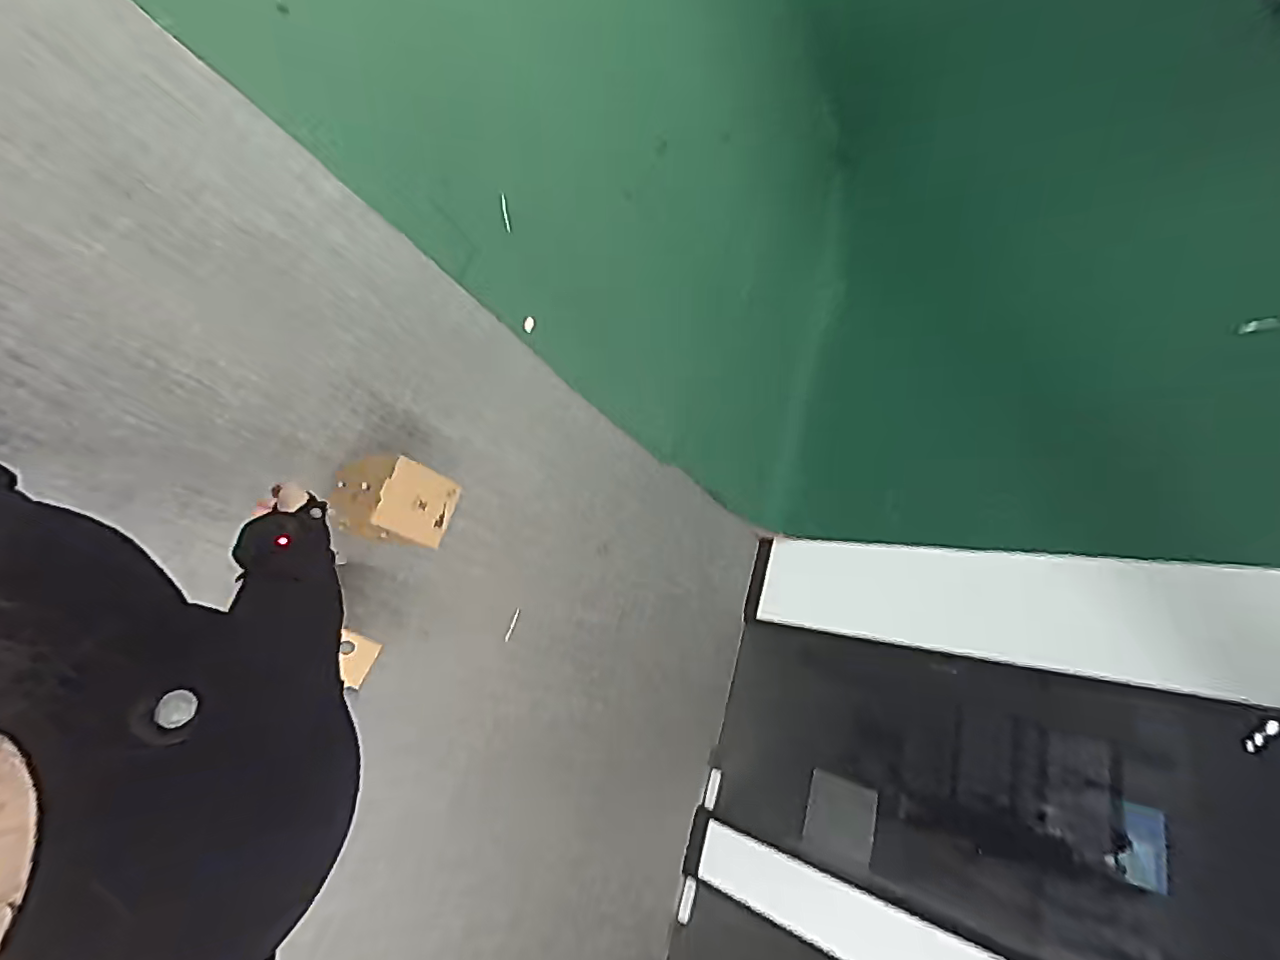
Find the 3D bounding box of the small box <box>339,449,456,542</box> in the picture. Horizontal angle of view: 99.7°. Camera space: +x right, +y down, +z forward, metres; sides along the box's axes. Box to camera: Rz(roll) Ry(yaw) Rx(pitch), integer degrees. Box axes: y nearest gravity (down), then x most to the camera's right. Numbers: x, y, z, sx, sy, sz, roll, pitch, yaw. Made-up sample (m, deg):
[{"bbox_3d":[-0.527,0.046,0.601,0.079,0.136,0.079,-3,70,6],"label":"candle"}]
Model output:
[{"bbox_3d":[-0.590,0.041,1.310,0.179,0.176,0.168,36,63,-42],"label":"small box"}]
